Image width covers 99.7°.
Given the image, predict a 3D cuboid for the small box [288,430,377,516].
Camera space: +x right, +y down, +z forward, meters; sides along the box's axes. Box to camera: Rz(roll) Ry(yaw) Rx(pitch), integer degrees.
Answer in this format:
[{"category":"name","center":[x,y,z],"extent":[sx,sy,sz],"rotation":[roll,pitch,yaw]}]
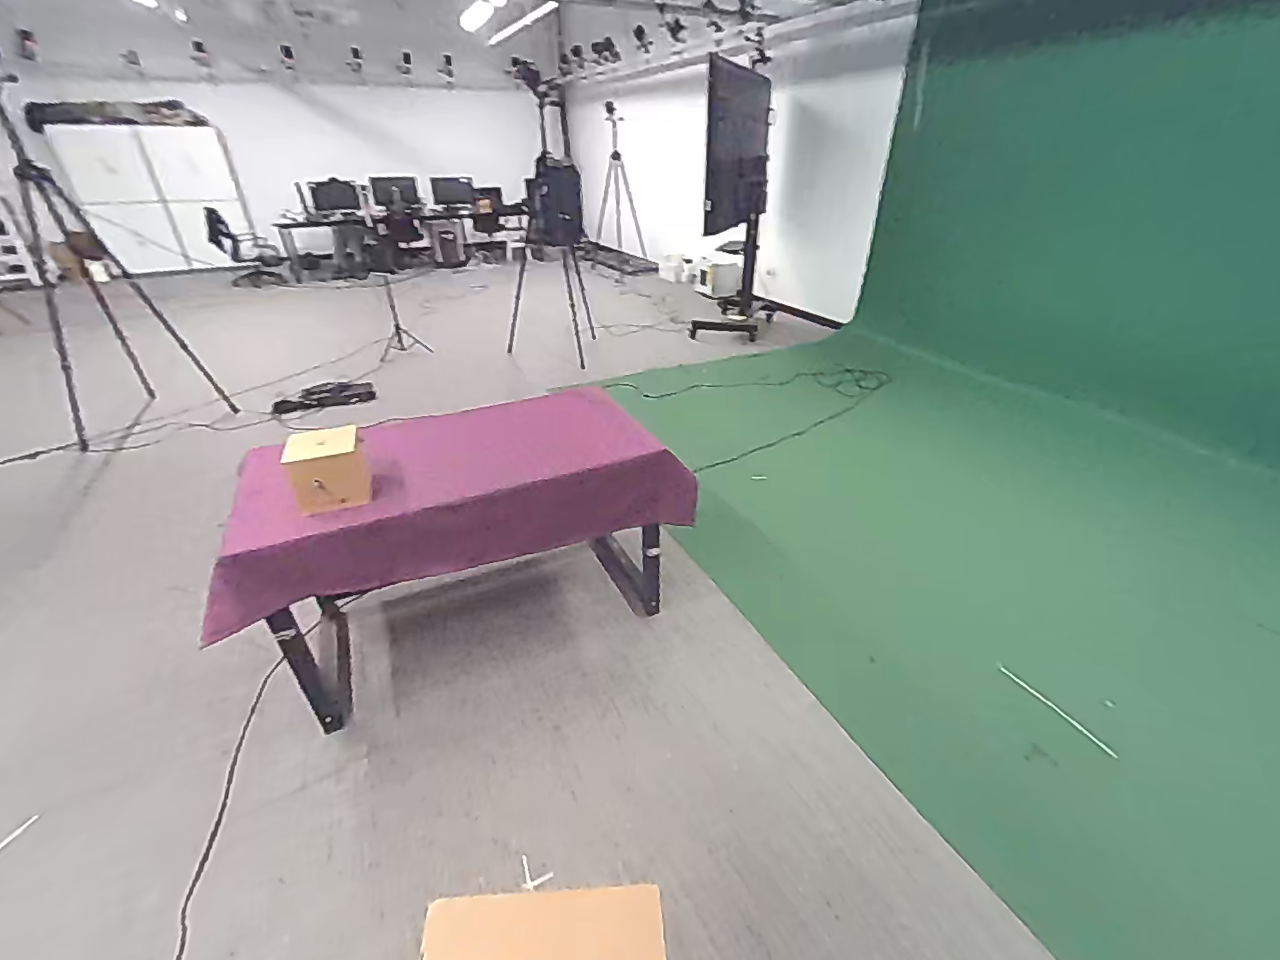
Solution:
[{"category":"small box","center":[-0.830,-0.015,1.477],"extent":[0.168,0.176,0.179],"rotation":[-12,32,-18]}]

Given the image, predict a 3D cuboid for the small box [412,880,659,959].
[{"category":"small box","center":[-0.080,0.425,0.403],"extent":[0.179,0.176,0.168],"rotation":[3,40,-9]}]
